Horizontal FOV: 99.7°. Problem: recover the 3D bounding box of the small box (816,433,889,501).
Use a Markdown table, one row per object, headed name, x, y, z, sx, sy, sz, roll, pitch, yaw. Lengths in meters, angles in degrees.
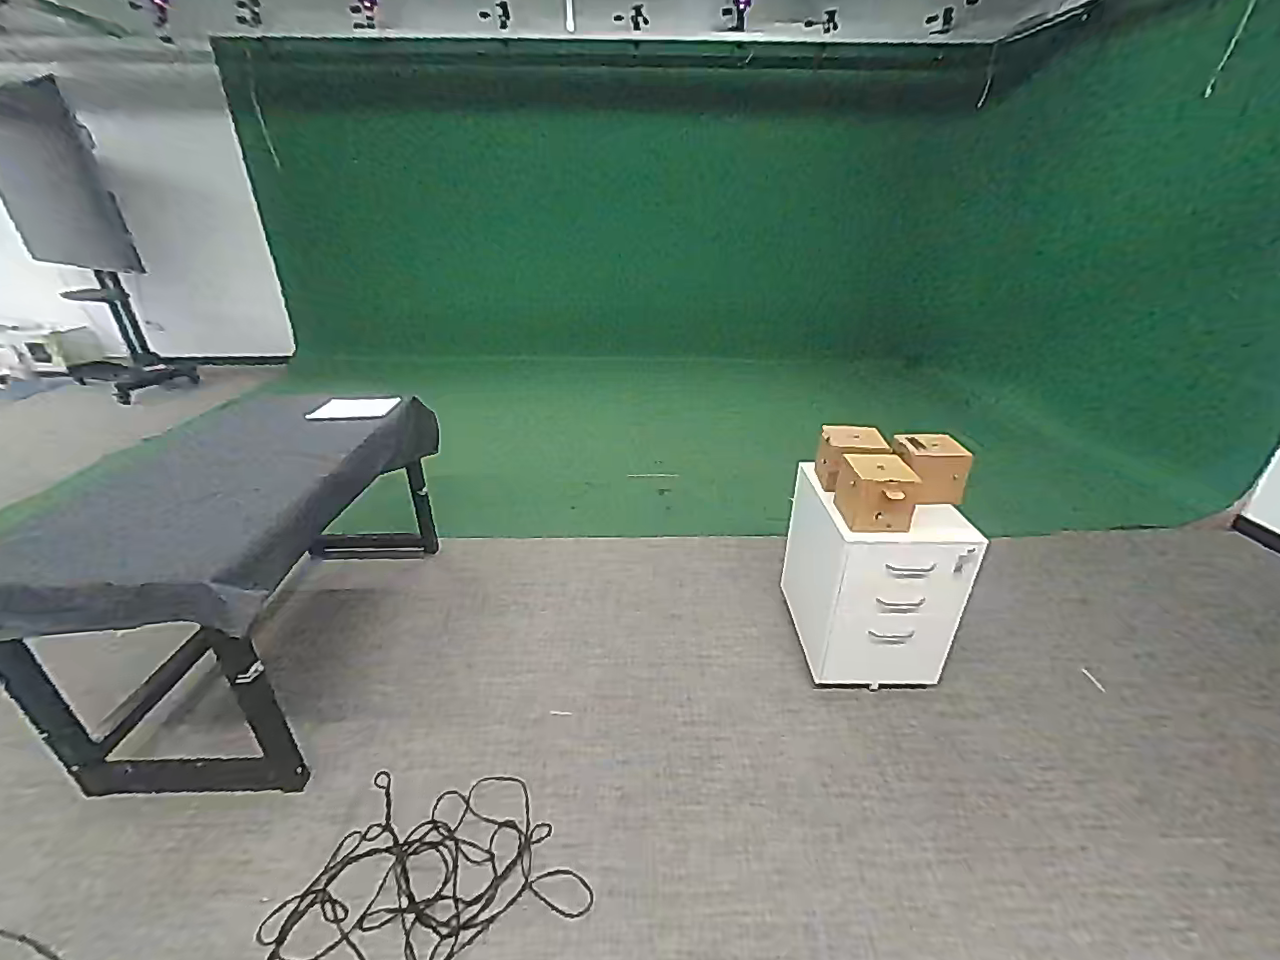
| name | x | y | z | sx | sy | sz | roll | pitch | yaw |
| --- | --- | --- | --- | --- | --- | --- | --- | --- | --- |
| small box | 0.683 | -0.043 | 1.765 | 0.179 | 0.176 | 0.168 | 3 | 28 | 3 |
